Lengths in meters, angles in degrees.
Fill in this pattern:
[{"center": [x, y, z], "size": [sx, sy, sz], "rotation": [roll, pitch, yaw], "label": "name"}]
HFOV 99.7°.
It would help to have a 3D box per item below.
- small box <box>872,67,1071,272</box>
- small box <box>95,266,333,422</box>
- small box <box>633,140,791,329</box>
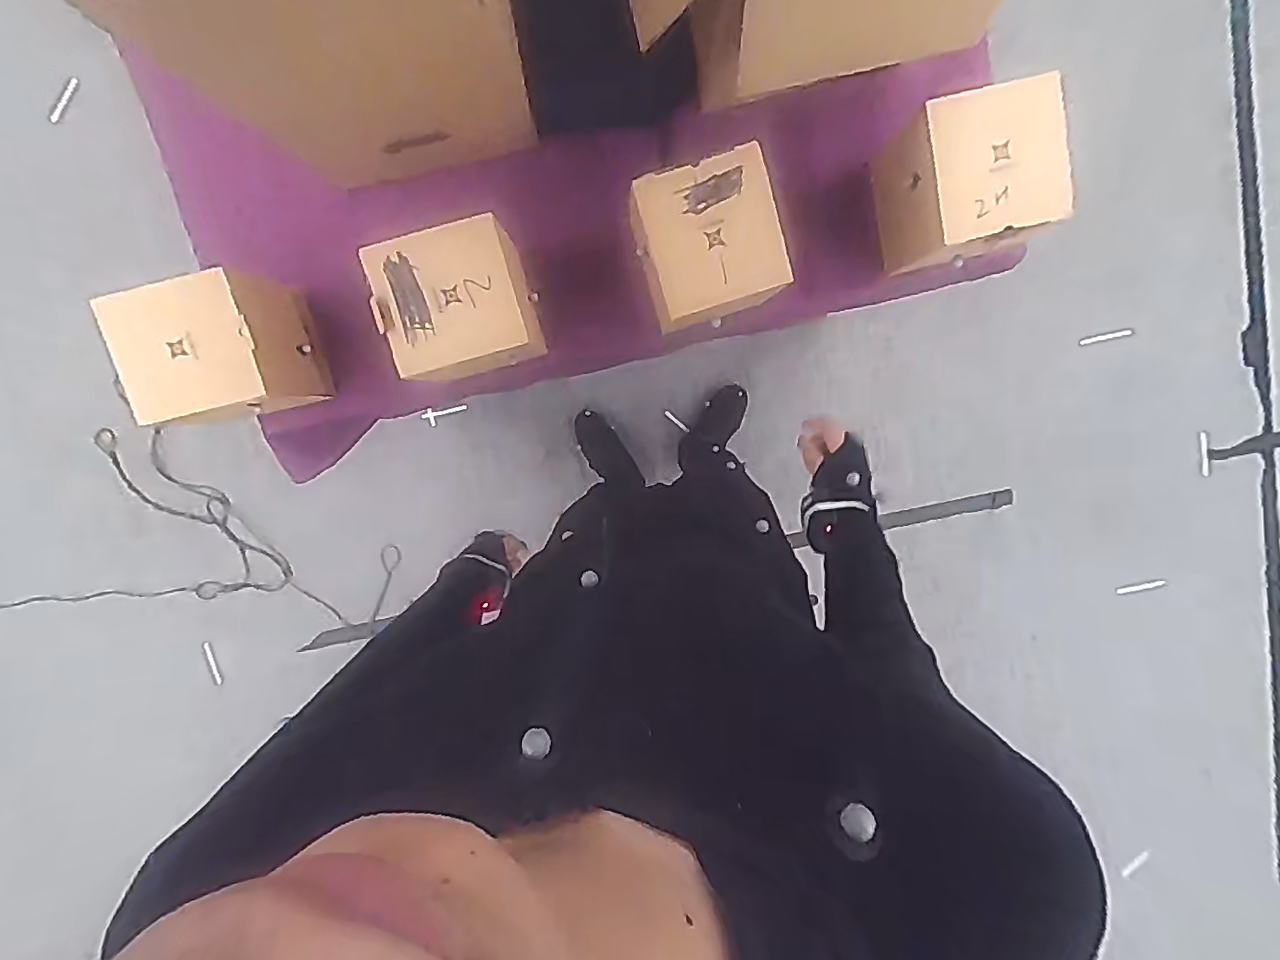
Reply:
[{"center": [0.439, -0.408, 0.742], "size": [0.168, 0.176, 0.179], "rotation": [-12, 98, 2], "label": "small box"}, {"center": [-0.579, -0.180, 0.761], "size": [0.179, 0.176, 0.168], "rotation": [-14, 99, 0], "label": "small box"}, {"center": [0.089, -0.324, 0.751], "size": [0.168, 0.176, 0.179], "rotation": [-17, 100, 2], "label": "small box"}]
